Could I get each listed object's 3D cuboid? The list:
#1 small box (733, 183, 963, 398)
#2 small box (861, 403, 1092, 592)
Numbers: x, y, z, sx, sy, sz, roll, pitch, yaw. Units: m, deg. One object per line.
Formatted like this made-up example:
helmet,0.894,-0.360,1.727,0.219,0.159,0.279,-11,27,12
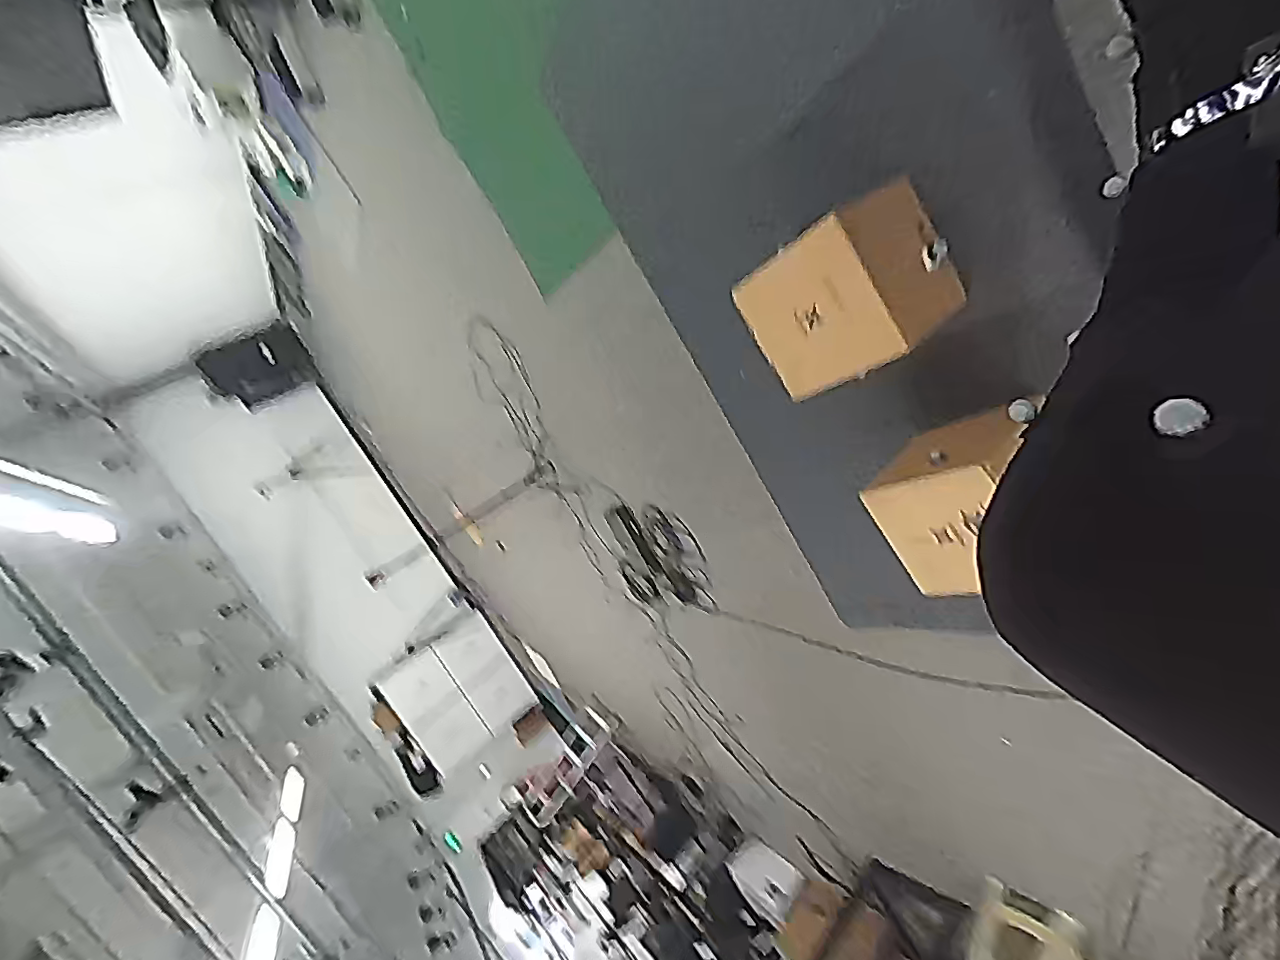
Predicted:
small box,0.260,-0.233,0.682,0.168,0.176,0.179,56,150,-6
small box,0.432,0.025,0.692,0.168,0.176,0.179,56,153,-3
